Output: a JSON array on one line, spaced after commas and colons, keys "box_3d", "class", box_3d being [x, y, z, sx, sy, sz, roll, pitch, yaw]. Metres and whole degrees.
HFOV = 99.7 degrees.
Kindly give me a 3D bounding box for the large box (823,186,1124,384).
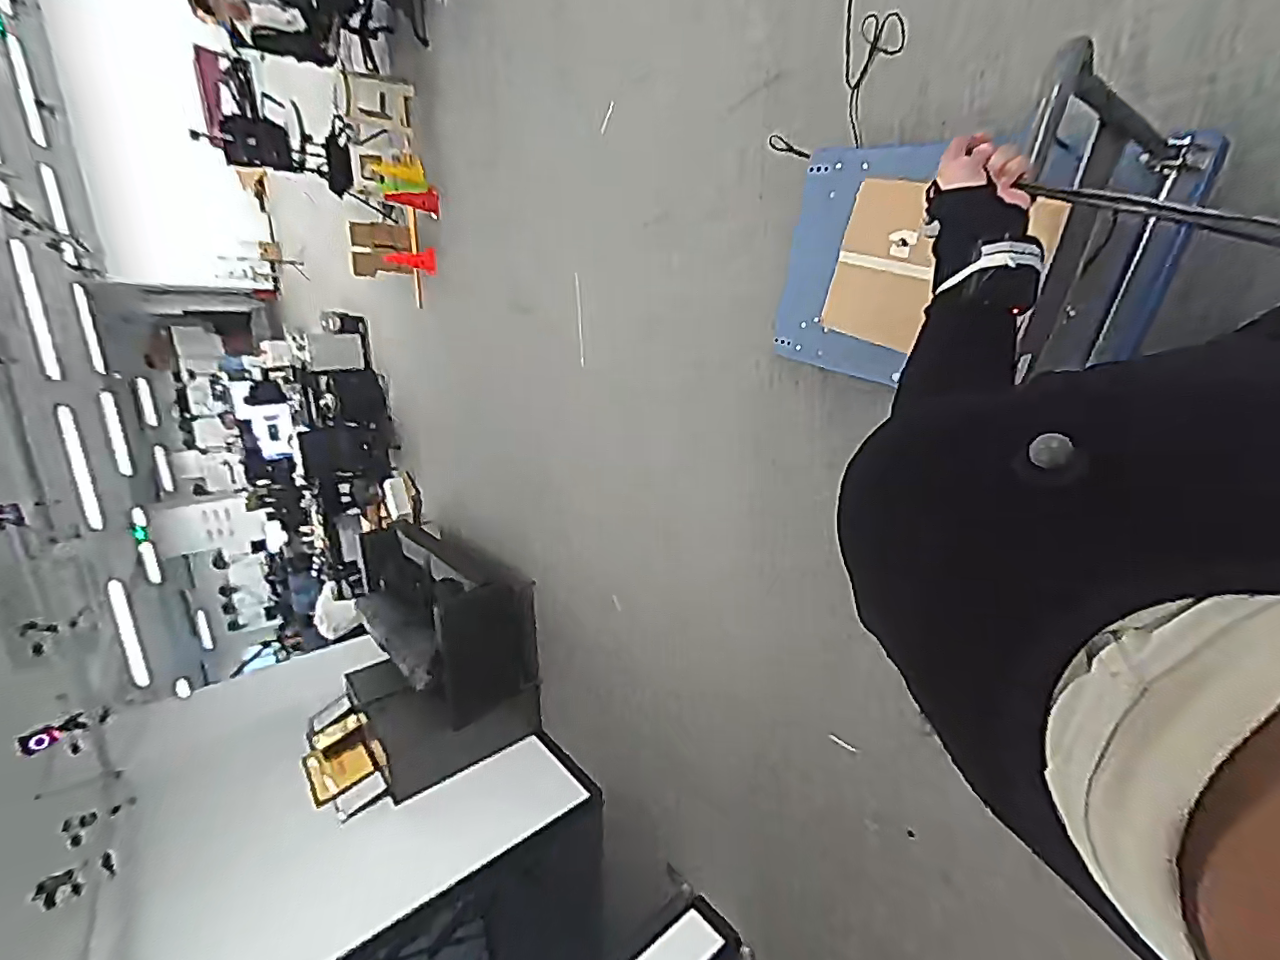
[{"box_3d": [0.687, -0.421, 1.155, 0.408, 0.320, 0.320, 37, 126, 41], "class": "large box"}]
